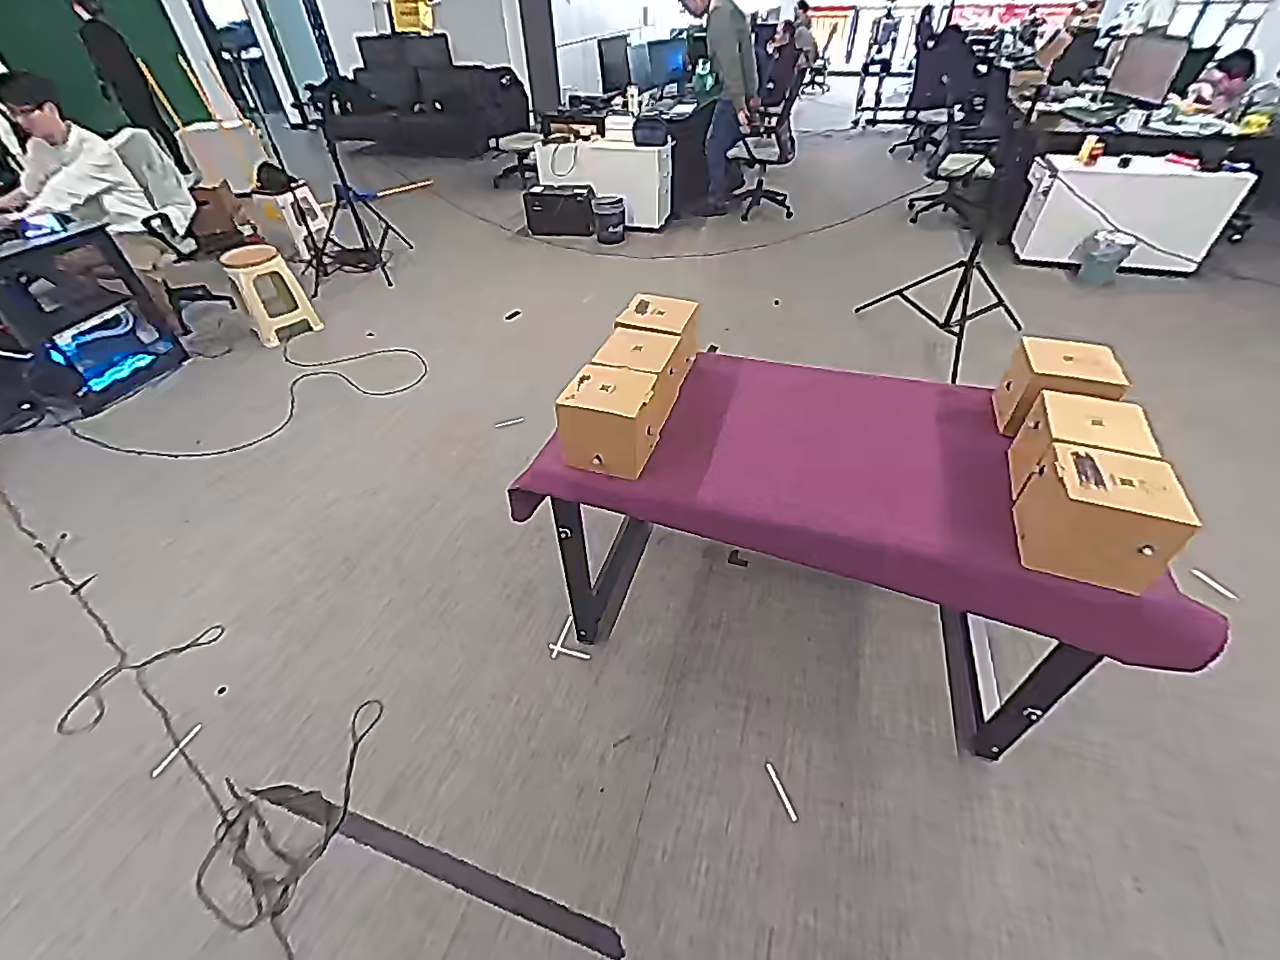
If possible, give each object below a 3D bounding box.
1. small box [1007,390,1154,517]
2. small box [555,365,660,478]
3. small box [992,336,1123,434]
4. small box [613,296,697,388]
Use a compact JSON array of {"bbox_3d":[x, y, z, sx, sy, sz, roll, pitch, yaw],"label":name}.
[{"bbox_3d":[0.855,-0.052,1.072,0.168,0.176,0.179,14,44,18],"label":"small box"},{"bbox_3d":[-0.065,-0.124,1.180,0.179,0.176,0.168,13,43,14],"label":"small box"},{"bbox_3d":[0.925,-0.202,1.223,0.179,0.176,0.168,13,45,15],"label":"small box"},{"bbox_3d":[0.042,-0.365,1.436,0.179,0.176,0.168,14,47,15],"label":"small box"}]
